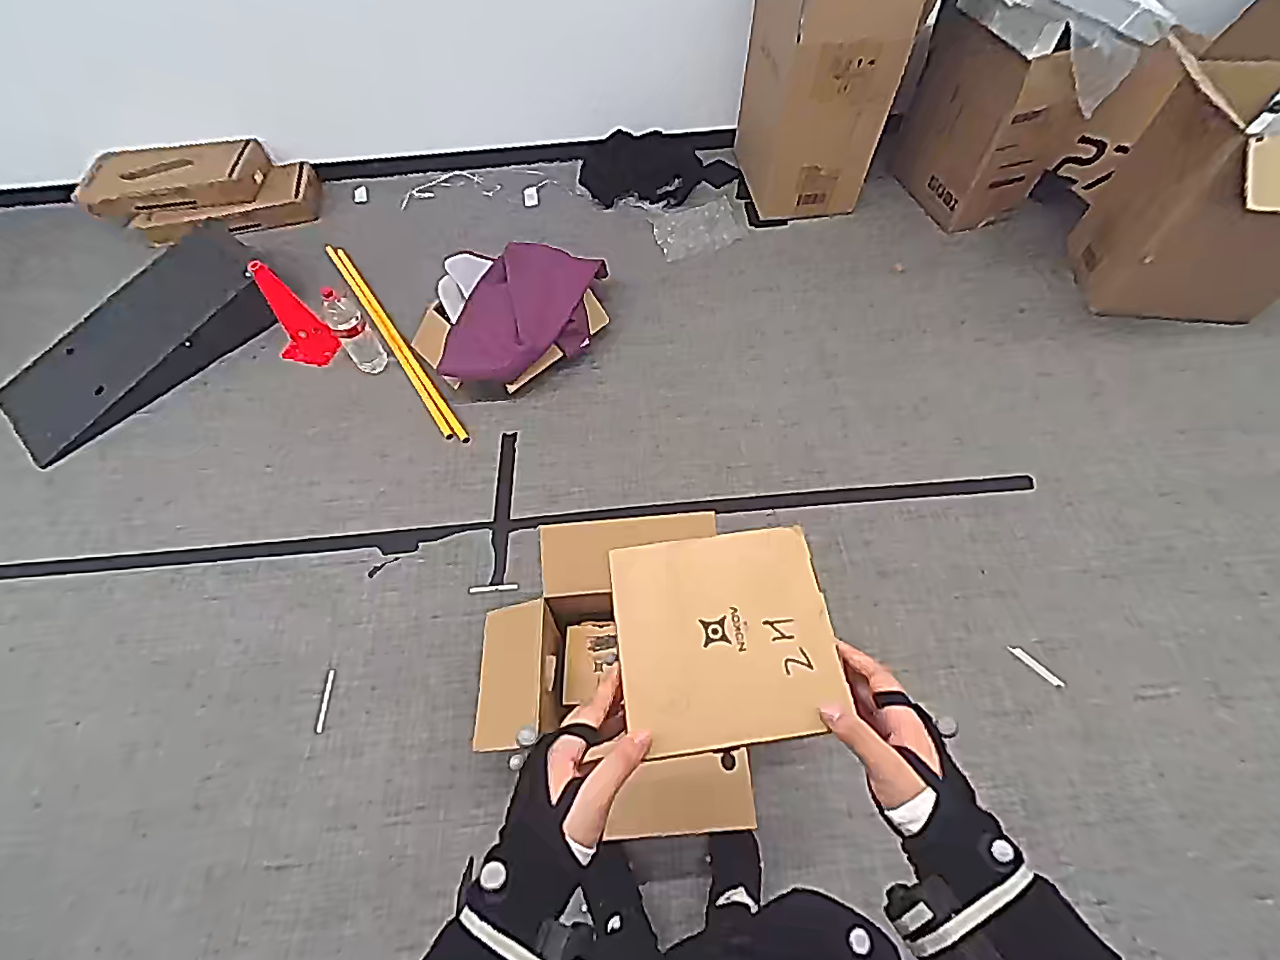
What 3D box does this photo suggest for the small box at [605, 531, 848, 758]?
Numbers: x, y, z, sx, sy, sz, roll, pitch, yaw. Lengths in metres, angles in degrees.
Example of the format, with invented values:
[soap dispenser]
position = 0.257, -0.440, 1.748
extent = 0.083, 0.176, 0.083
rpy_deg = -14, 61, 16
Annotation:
[small box]
position = 0.065, 0.163, 0.514
extent = 0.179, 0.176, 0.168
rpy_deg = -6, 63, -4
